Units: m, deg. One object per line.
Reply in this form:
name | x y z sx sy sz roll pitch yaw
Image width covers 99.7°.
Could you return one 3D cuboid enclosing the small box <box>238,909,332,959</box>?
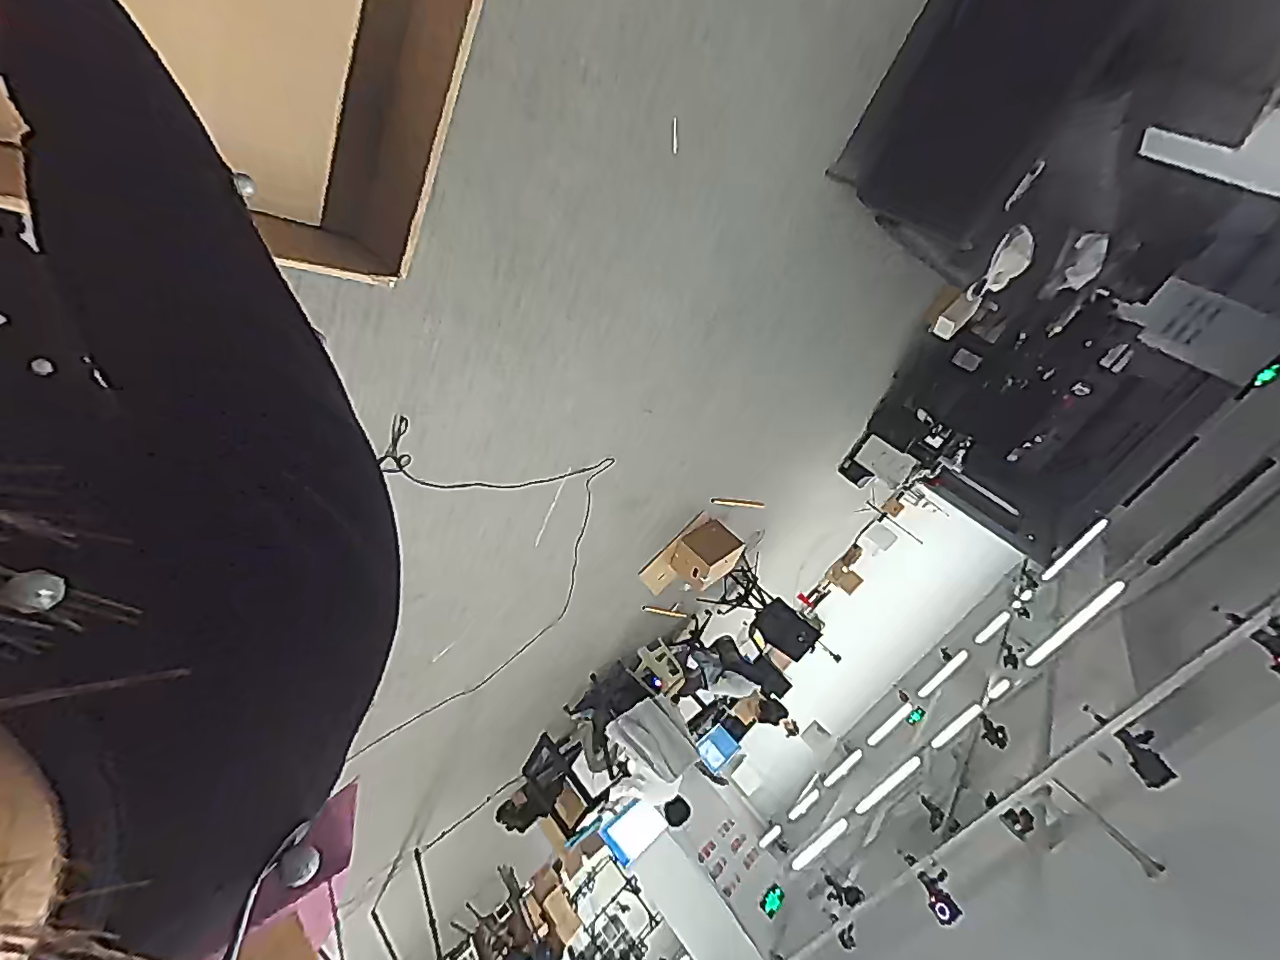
small box | -0.973 1.338 1.483 0.179 0.176 0.168 -13 138 -46
